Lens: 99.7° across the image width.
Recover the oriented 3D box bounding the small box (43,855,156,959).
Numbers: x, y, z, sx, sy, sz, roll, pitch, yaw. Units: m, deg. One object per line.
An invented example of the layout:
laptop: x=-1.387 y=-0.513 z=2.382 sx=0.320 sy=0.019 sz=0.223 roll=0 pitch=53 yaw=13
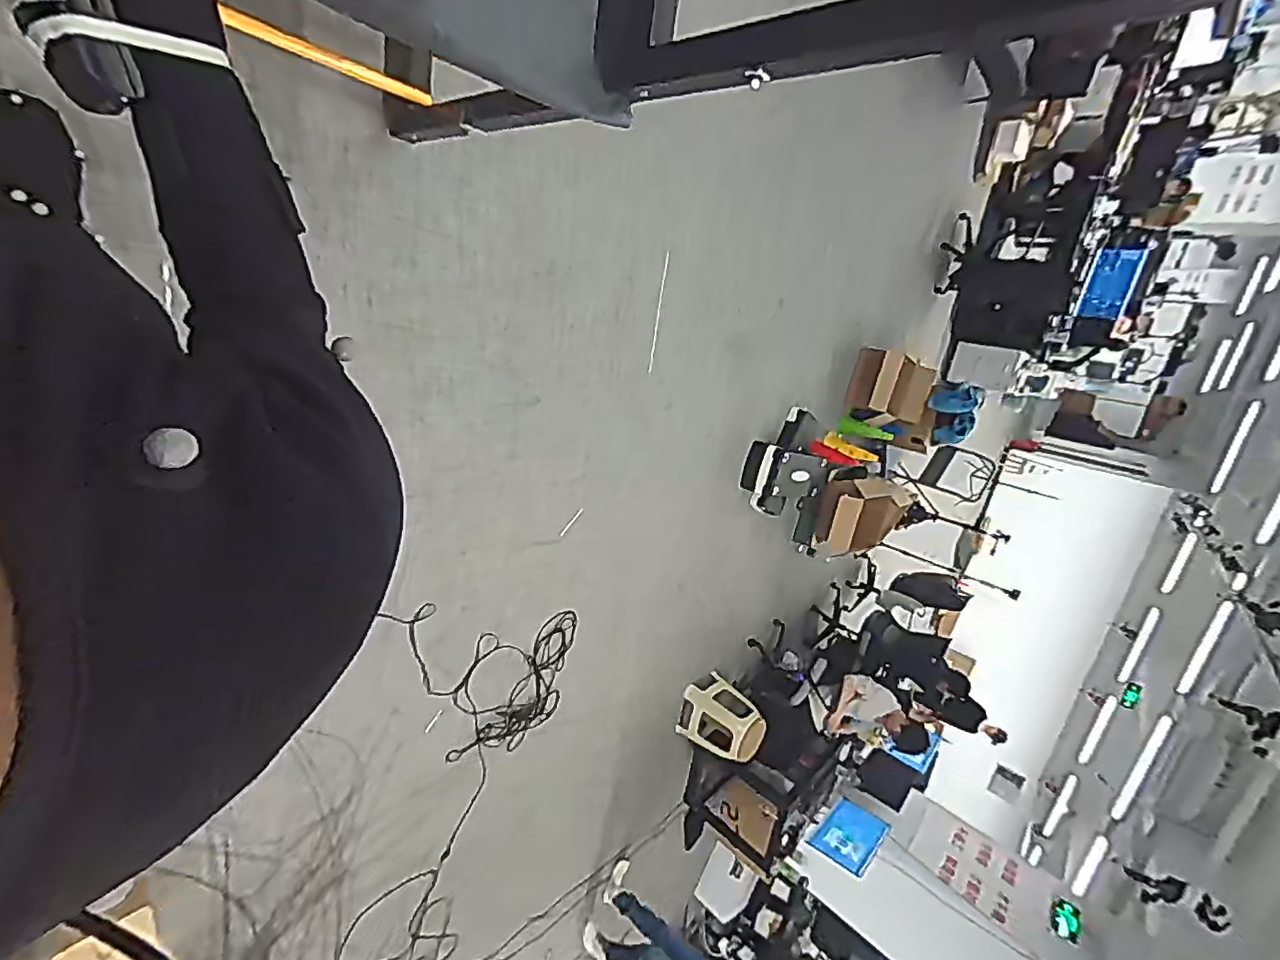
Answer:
small box: x=-1.305 y=1.070 z=1.308 sx=0.168 sy=0.176 sz=0.179 roll=-13 pitch=116 yaw=-48
